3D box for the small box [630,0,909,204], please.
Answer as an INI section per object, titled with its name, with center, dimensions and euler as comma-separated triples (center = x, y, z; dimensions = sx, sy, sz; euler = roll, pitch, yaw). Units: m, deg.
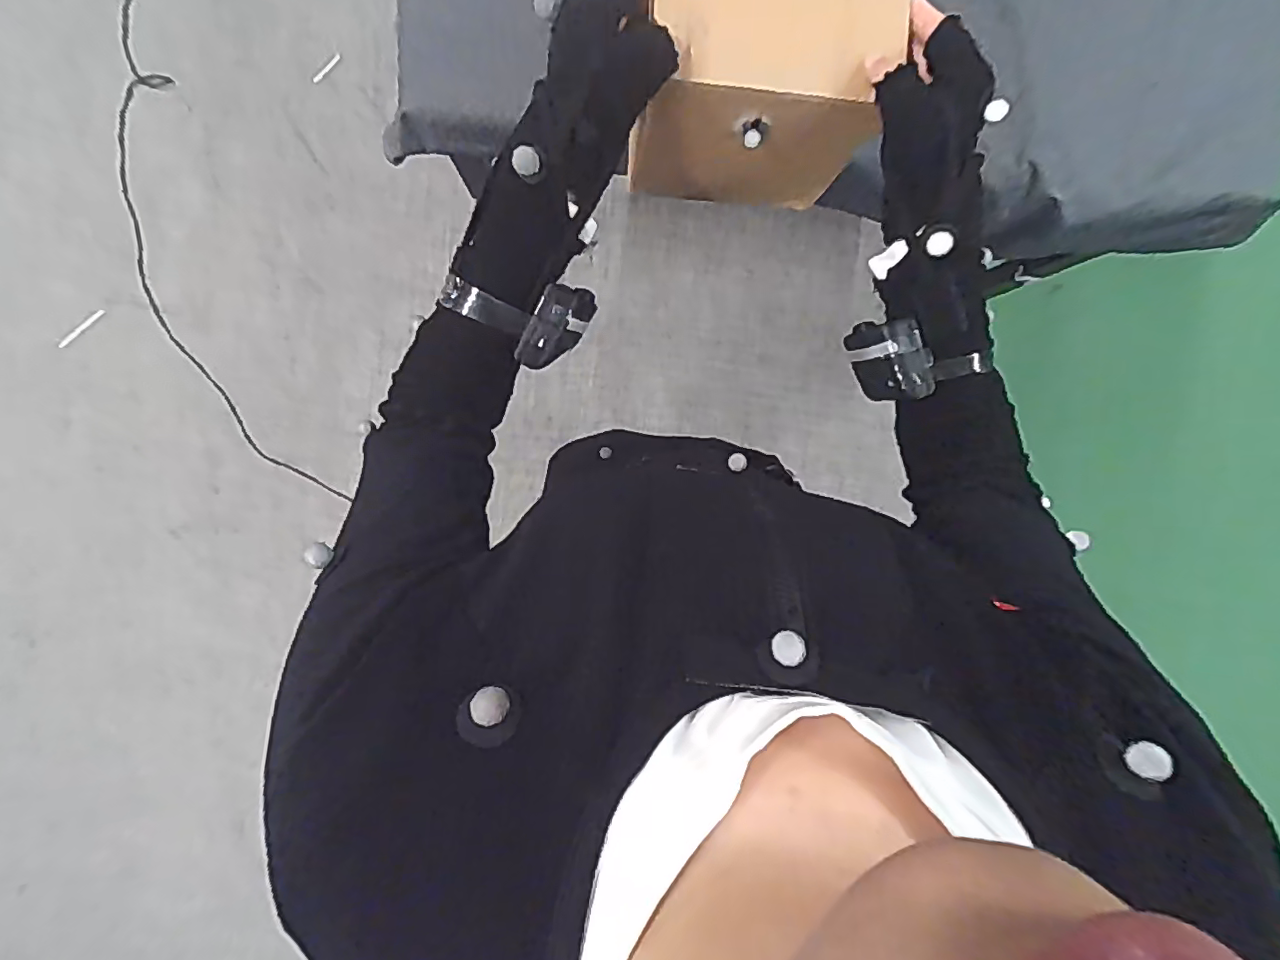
[small box]
center = 0.086, -0.343, 0.433
dimensions = 0.179, 0.176, 0.168
euler = 1, 95, -7
